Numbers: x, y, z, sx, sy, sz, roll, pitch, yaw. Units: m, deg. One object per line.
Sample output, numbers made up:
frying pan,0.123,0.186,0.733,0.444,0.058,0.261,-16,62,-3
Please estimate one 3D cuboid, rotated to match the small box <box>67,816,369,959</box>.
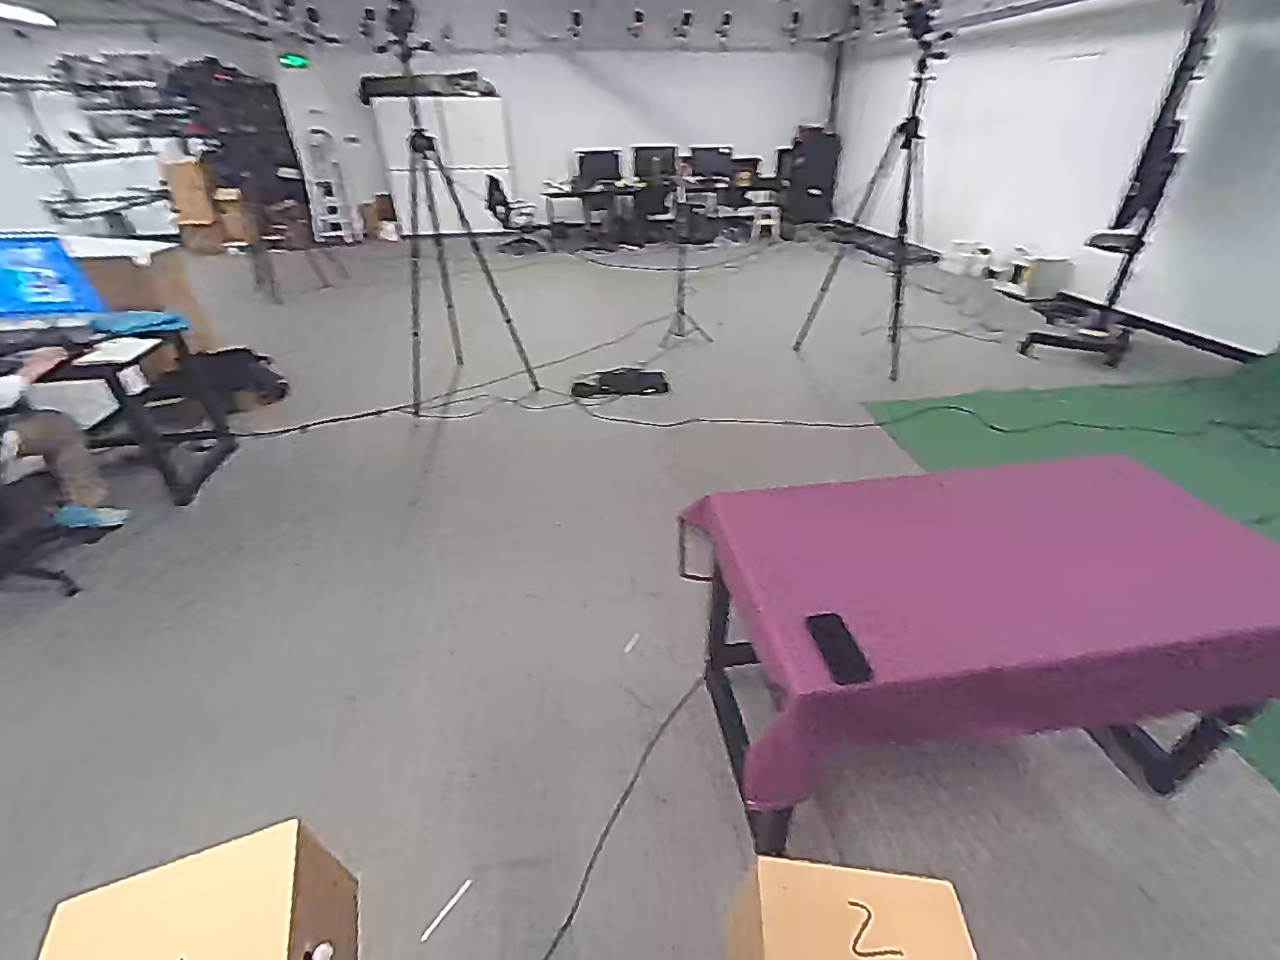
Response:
small box,-0.331,0.421,0.438,0.168,0.176,0.179,-11,41,-16
